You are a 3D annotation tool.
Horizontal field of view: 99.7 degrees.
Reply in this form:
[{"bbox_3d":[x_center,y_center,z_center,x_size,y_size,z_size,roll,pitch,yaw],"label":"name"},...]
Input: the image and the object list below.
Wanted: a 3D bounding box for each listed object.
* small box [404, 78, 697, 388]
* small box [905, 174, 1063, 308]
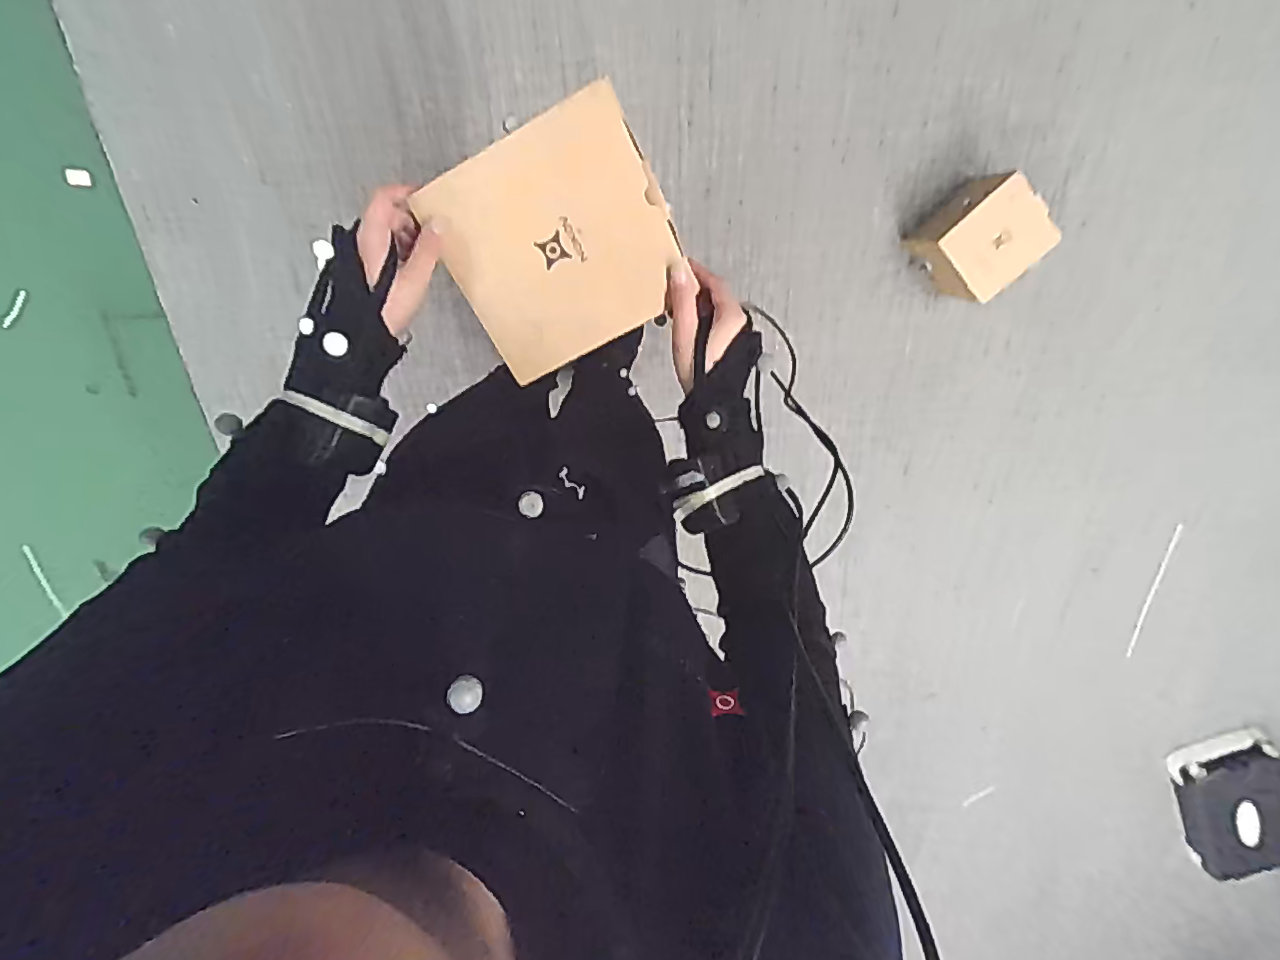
[{"bbox_3d":[-0.065,-0.209,0.488,0.179,0.176,0.168,-25,113,10],"label":"small box"},{"bbox_3d":[0.680,-0.479,1.090,0.168,0.176,0.179,42,109,-16],"label":"small box"}]
